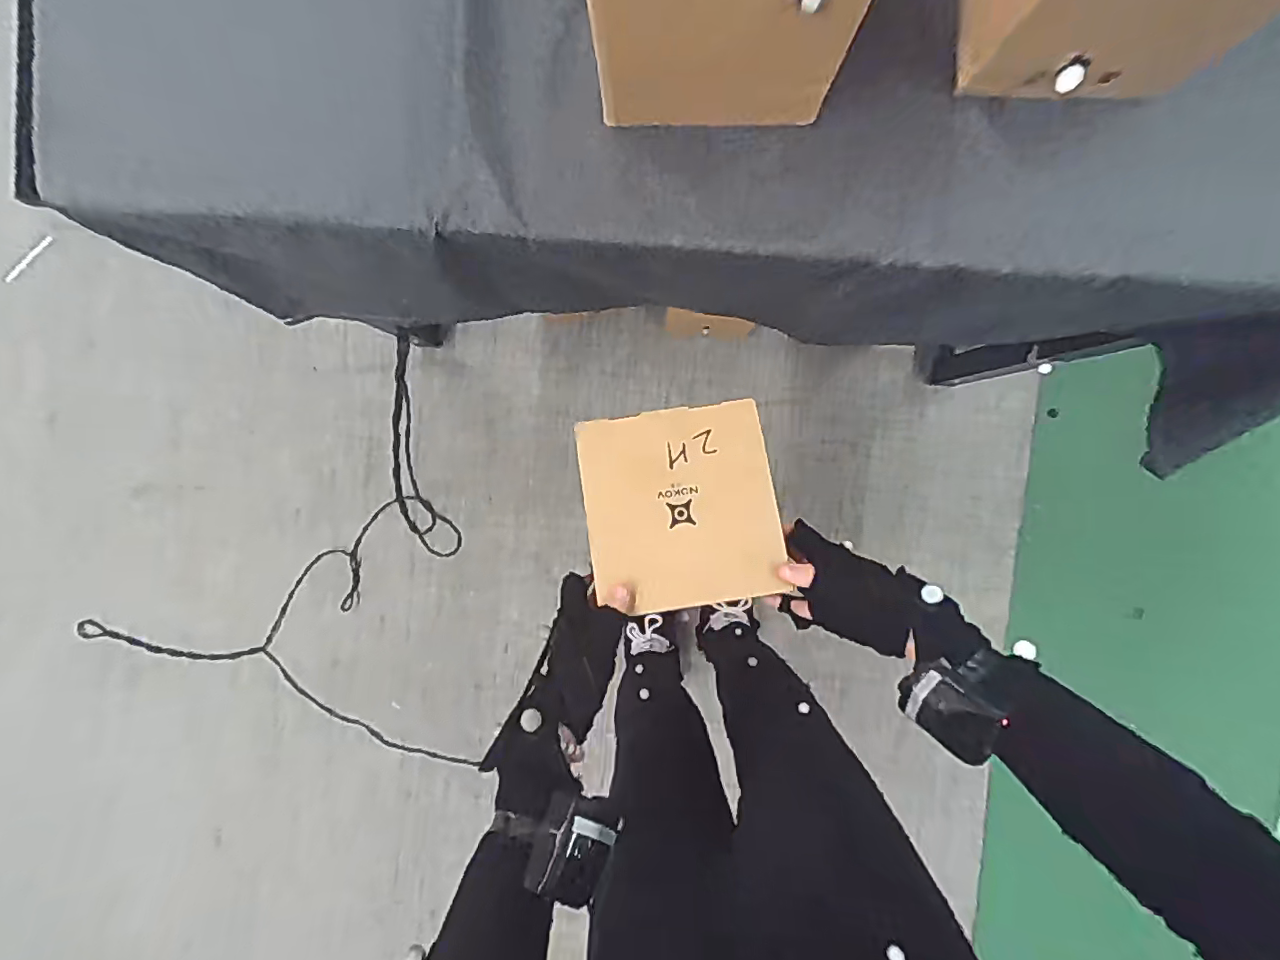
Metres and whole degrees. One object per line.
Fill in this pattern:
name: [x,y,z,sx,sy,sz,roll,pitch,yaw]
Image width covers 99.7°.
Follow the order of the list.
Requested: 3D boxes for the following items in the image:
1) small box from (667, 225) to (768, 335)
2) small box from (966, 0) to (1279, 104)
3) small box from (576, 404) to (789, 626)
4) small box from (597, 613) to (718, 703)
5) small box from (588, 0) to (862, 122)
small box: [0.146,-0.387,1.071,0.179,0.176,0.168,2,94,2]
small box: [0.335,-0.381,0.340,0.168,0.176,0.179,2,94,2]
small box: [0.033,0.038,0.538,0.168,0.176,0.179,-7,81,-3]
small box: [0.032,0.328,1.134,0.179,0.176,0.168,38,102,22]
small box: [0.053,-0.362,0.349,0.179,0.176,0.168,-1,94,1]
